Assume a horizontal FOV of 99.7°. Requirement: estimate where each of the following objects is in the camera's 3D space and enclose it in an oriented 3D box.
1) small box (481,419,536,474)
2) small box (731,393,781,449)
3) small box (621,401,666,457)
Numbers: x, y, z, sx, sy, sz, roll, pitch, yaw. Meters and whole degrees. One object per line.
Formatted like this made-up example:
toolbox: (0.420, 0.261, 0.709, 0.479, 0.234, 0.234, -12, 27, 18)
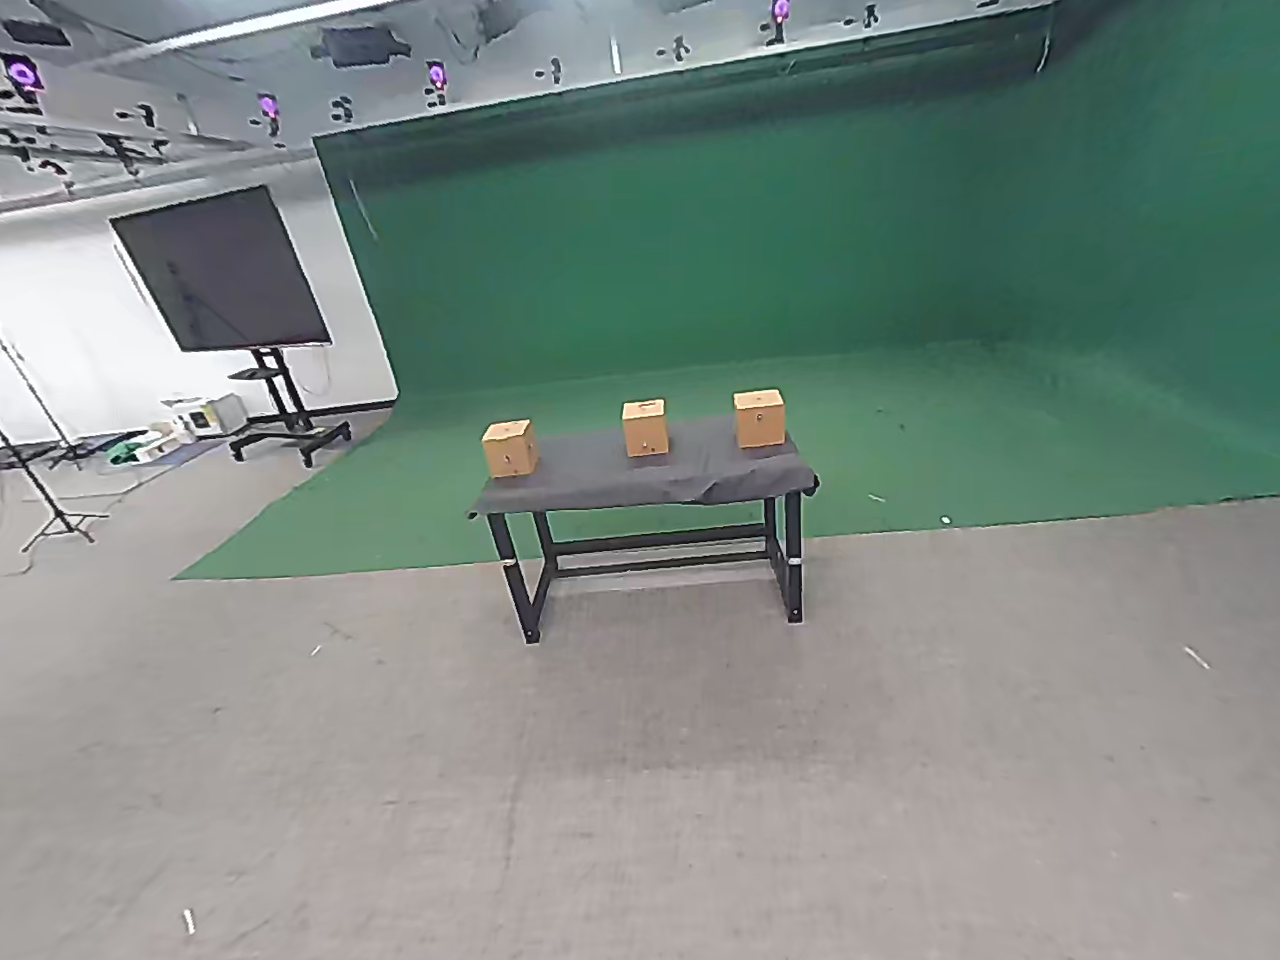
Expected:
small box: (-0.529, -0.131, 2.201, 0.168, 0.176, 0.179, -6, 28, 2)
small box: (0.459, -0.231, 2.141, 0.179, 0.176, 0.168, -4, 29, 6)
small box: (0.018, -0.209, 2.212, 0.168, 0.176, 0.179, -5, 28, 5)
